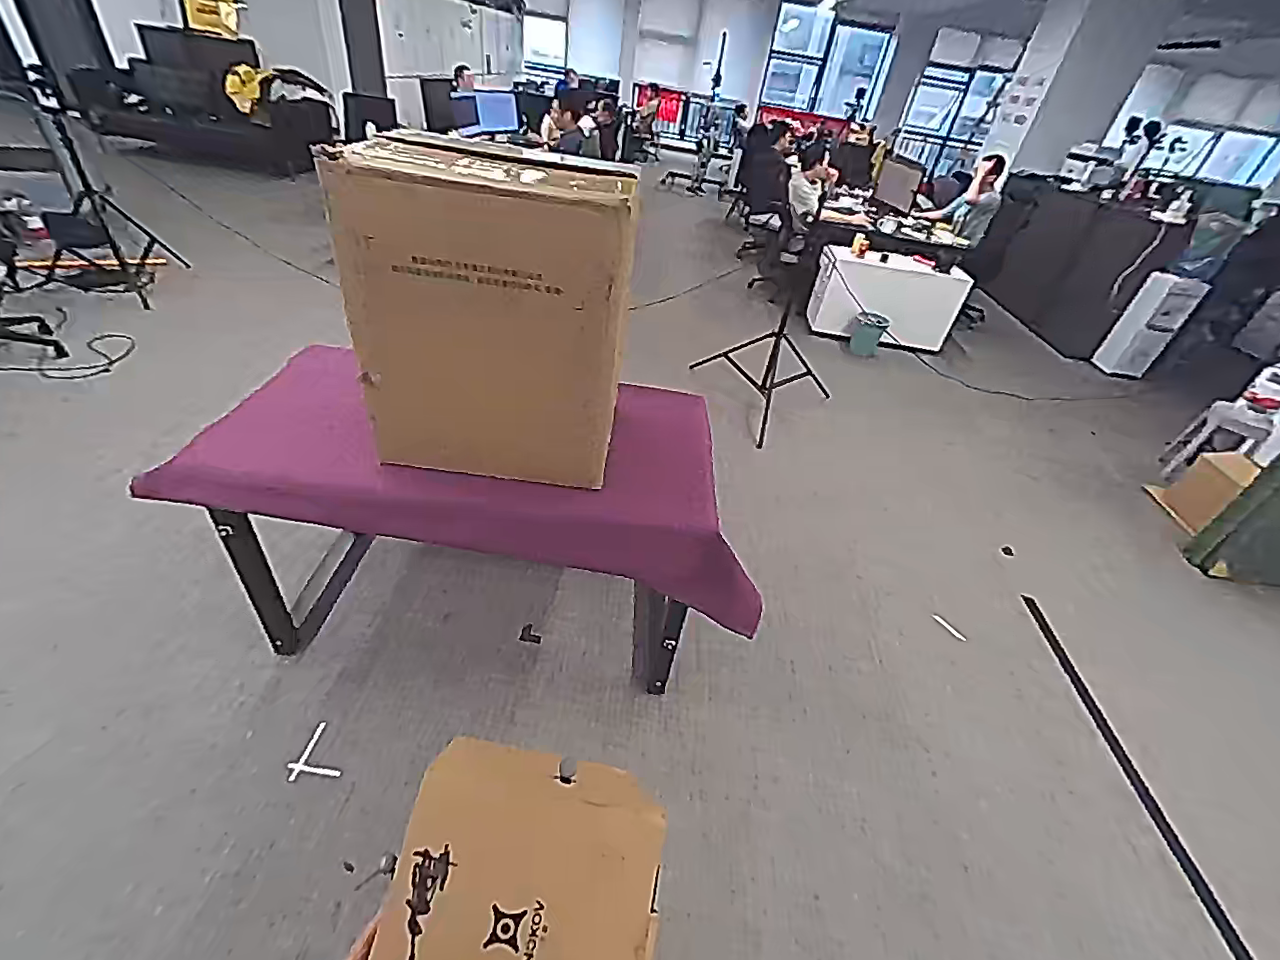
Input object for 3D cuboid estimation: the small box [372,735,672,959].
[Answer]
[{"bbox_3d":[-0.092,0.311,0.427,0.179,0.176,0.168,15,68,-7],"label":"small box"}]
